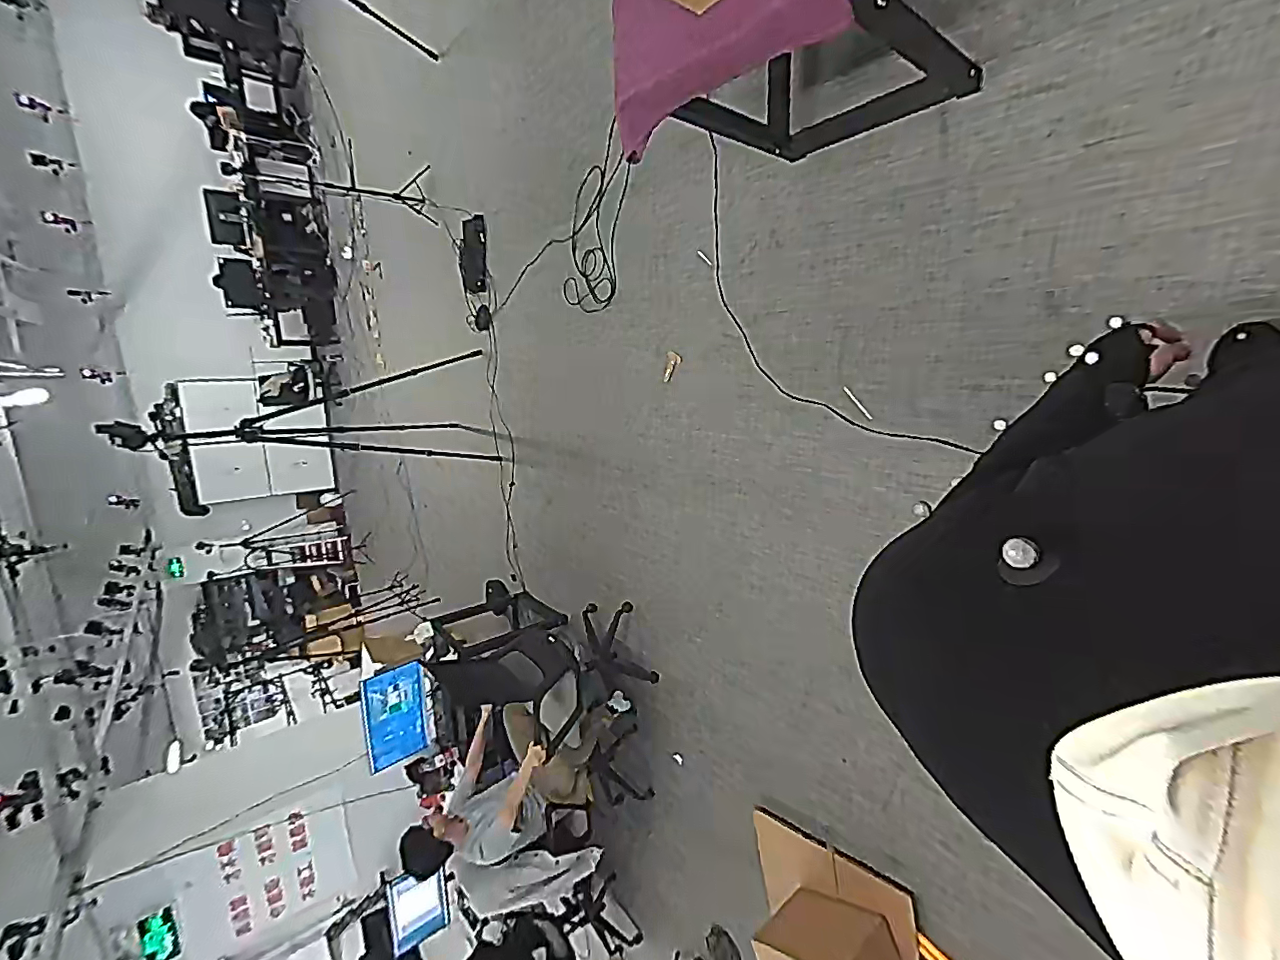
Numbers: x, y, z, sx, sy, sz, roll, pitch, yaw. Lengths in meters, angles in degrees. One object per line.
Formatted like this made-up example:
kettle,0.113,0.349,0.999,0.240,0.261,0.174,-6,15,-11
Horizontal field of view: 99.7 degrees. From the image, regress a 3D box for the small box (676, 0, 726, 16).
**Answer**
small box,0.125,-1.037,1.022,0.179,0.176,0.168,11,107,51
